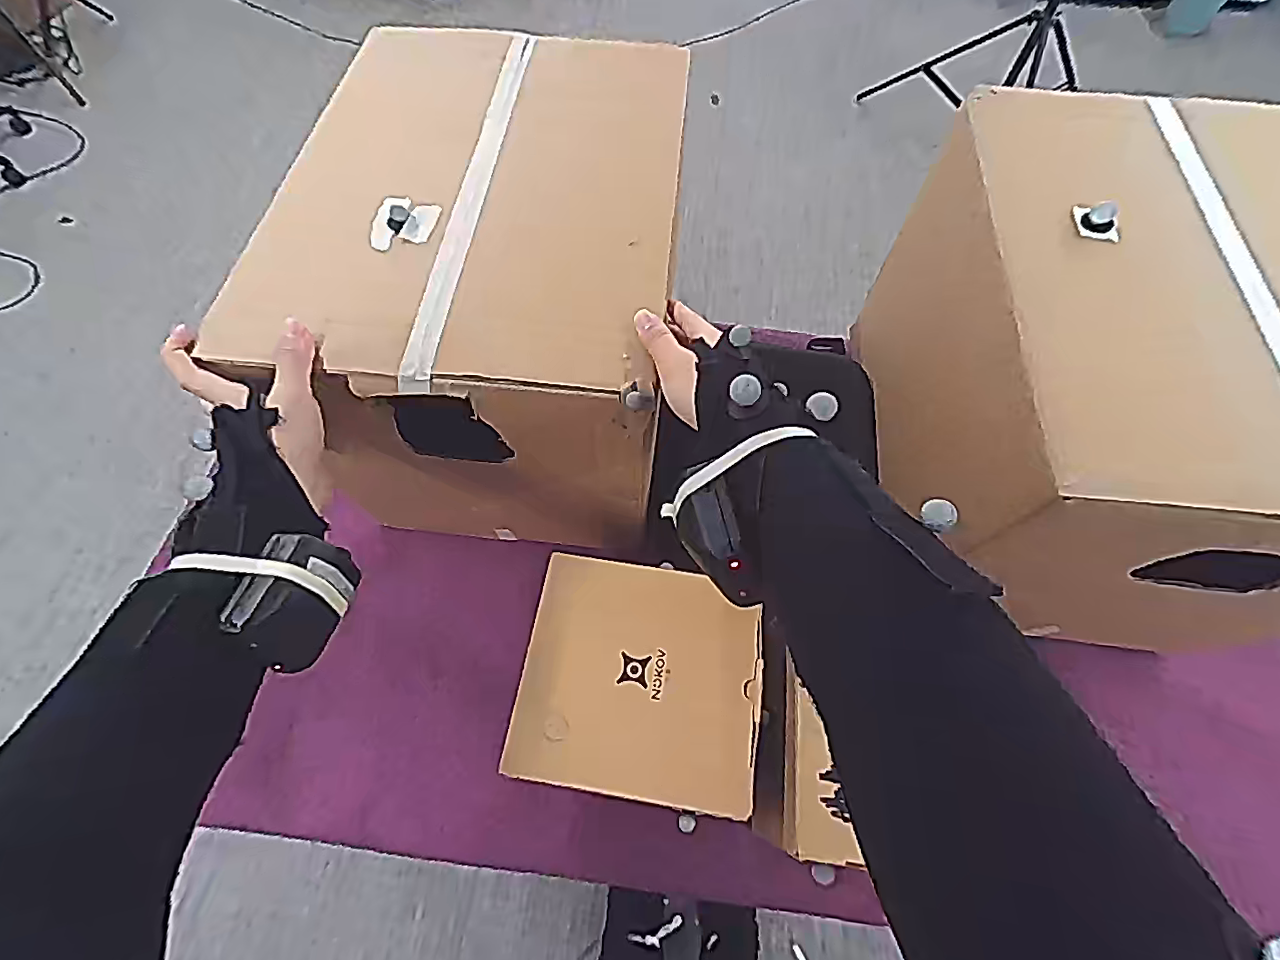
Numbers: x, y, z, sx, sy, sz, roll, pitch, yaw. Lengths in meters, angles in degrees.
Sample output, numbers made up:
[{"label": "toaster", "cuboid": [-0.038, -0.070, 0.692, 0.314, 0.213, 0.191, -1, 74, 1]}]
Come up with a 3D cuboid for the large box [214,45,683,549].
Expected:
[{"label": "large box", "cuboid": [-0.128, -0.171, 0.580, 0.320, 0.320, 0.408, 4, 65, 2]}]
